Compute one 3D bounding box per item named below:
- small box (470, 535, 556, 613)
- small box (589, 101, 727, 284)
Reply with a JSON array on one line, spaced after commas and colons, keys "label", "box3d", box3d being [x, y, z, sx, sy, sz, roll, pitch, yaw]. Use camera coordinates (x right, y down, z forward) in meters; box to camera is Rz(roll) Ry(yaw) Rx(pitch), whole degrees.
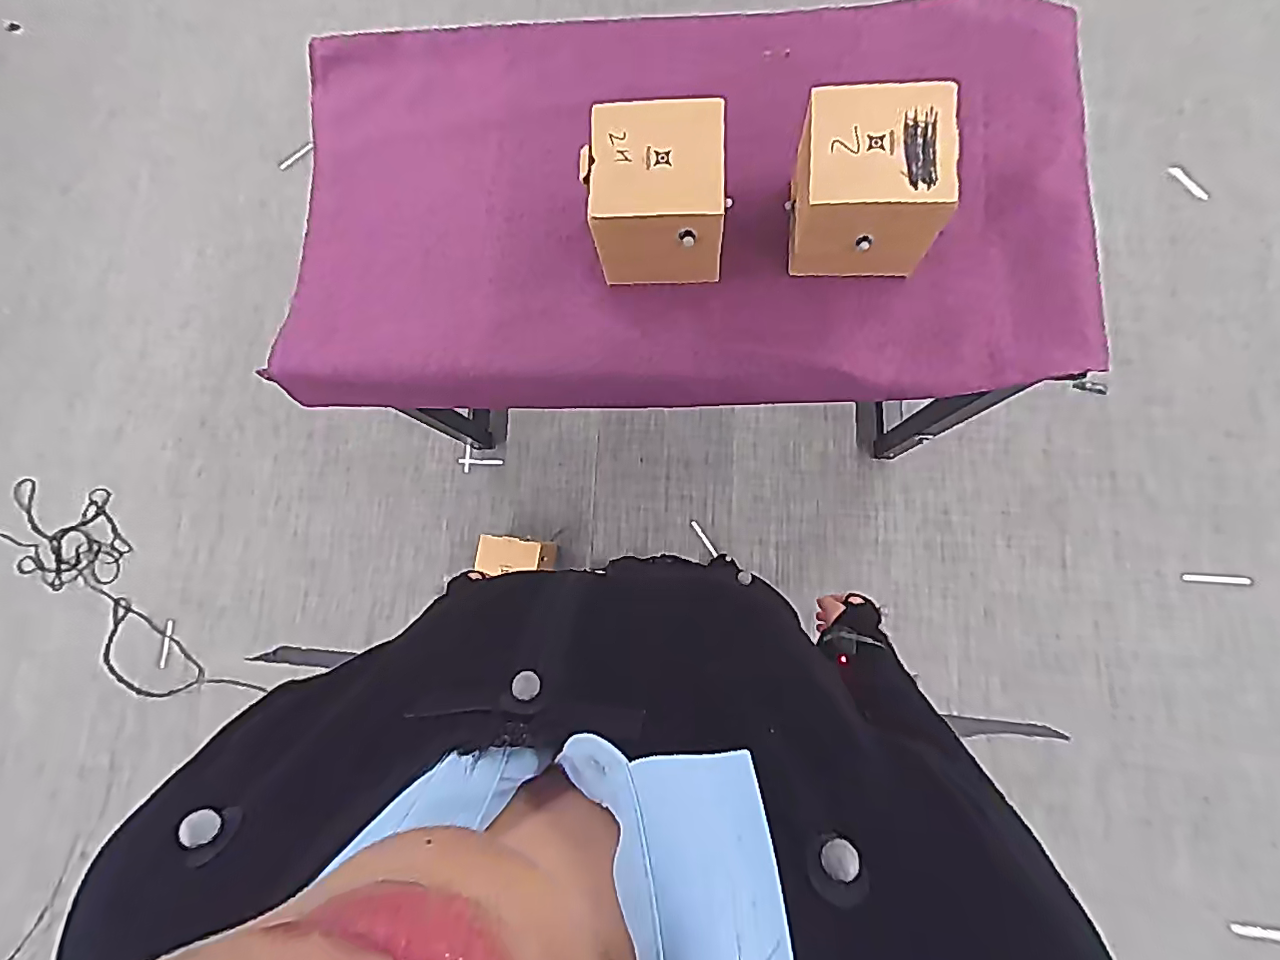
[{"label": "small box", "box3d": [-0.334, 0.250, 1.455, 0.168, 0.176, 0.179, 8, 82, 7]}, {"label": "small box", "box3d": [0.031, -0.397, 0.770, 0.179, 0.176, 0.168, 0, 81, 6]}]
